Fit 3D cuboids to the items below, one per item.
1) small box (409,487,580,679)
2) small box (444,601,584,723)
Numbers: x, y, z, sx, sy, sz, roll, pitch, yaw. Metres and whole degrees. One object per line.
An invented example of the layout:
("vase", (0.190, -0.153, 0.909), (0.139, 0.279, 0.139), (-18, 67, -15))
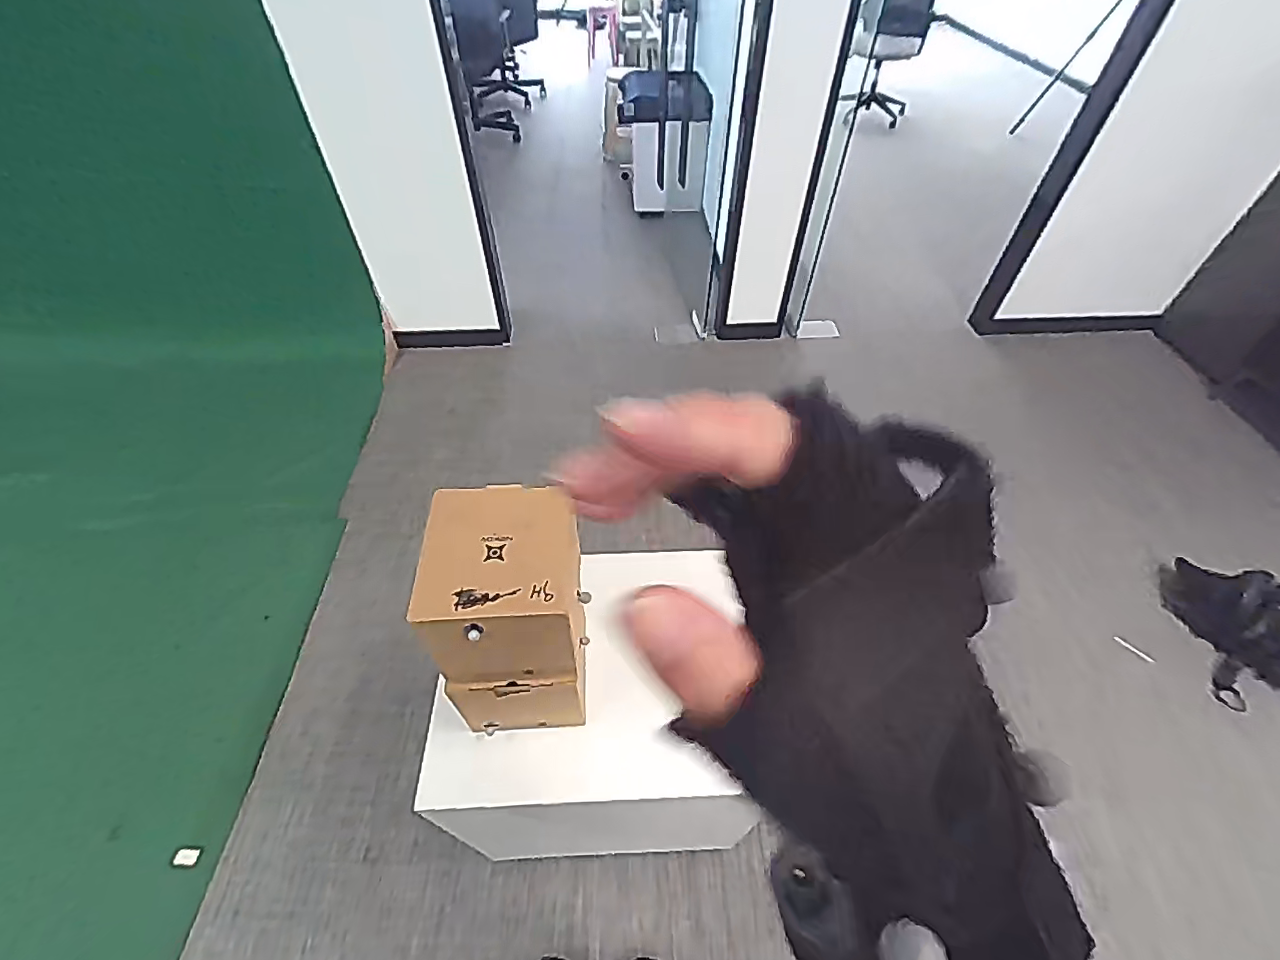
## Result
("small box", (-0.164, 0.129, 0.674), (0.168, 0.176, 0.179), (-2, 49, -3))
("small box", (-0.169, 0.243, 0.790), (0.168, 0.176, 0.179), (-2, 48, -3))
